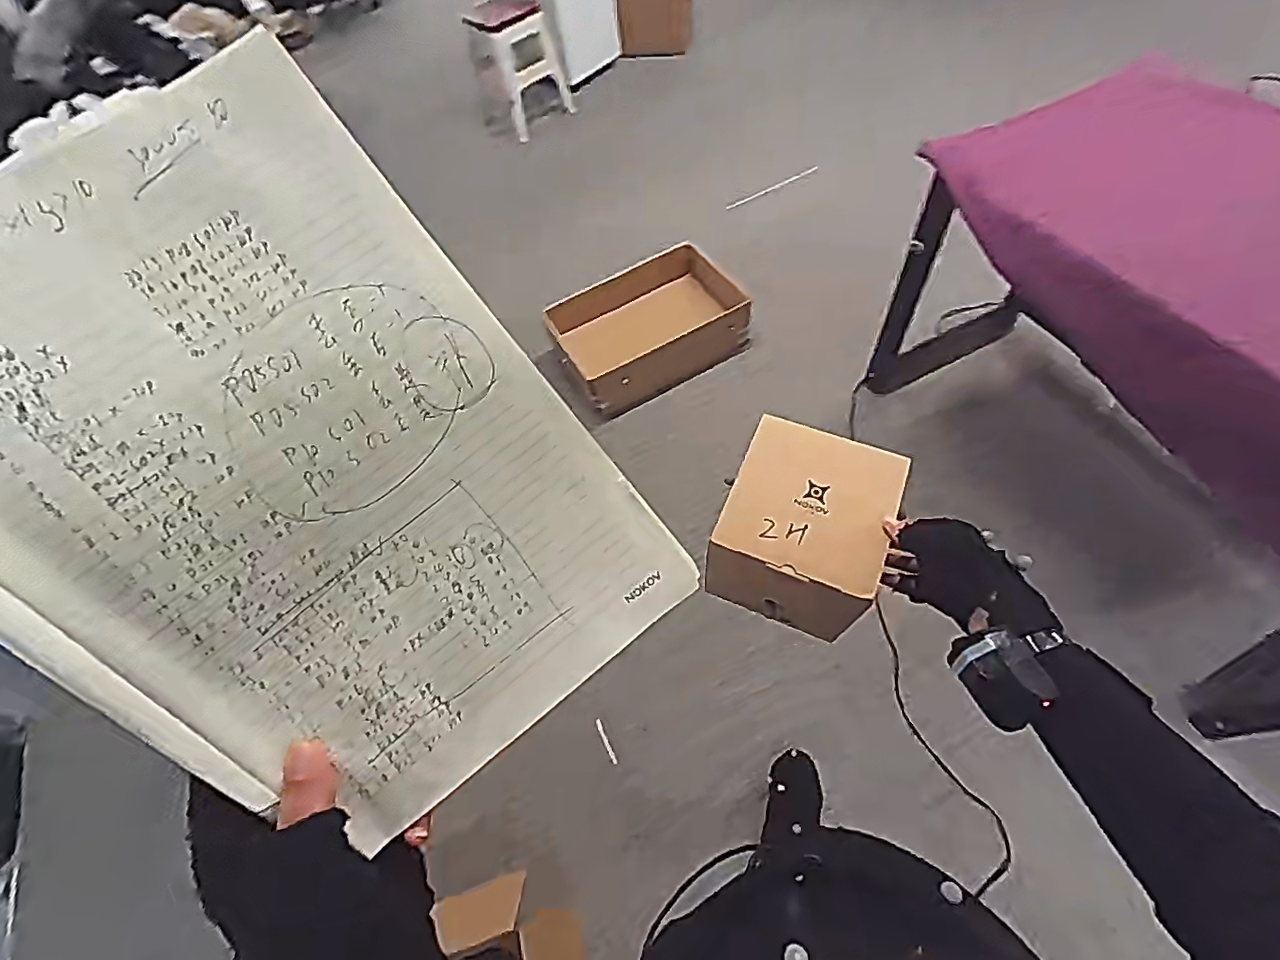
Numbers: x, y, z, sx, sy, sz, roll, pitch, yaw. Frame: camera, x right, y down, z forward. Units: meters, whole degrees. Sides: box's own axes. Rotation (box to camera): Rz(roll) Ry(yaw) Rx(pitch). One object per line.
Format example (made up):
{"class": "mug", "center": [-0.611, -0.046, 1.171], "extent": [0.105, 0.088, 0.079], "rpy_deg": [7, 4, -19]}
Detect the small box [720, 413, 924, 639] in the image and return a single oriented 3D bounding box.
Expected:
{"class": "small box", "center": [0.198, 0.059, 0.627], "extent": [0.168, 0.176, 0.179], "rpy_deg": [21, 65, 16]}
